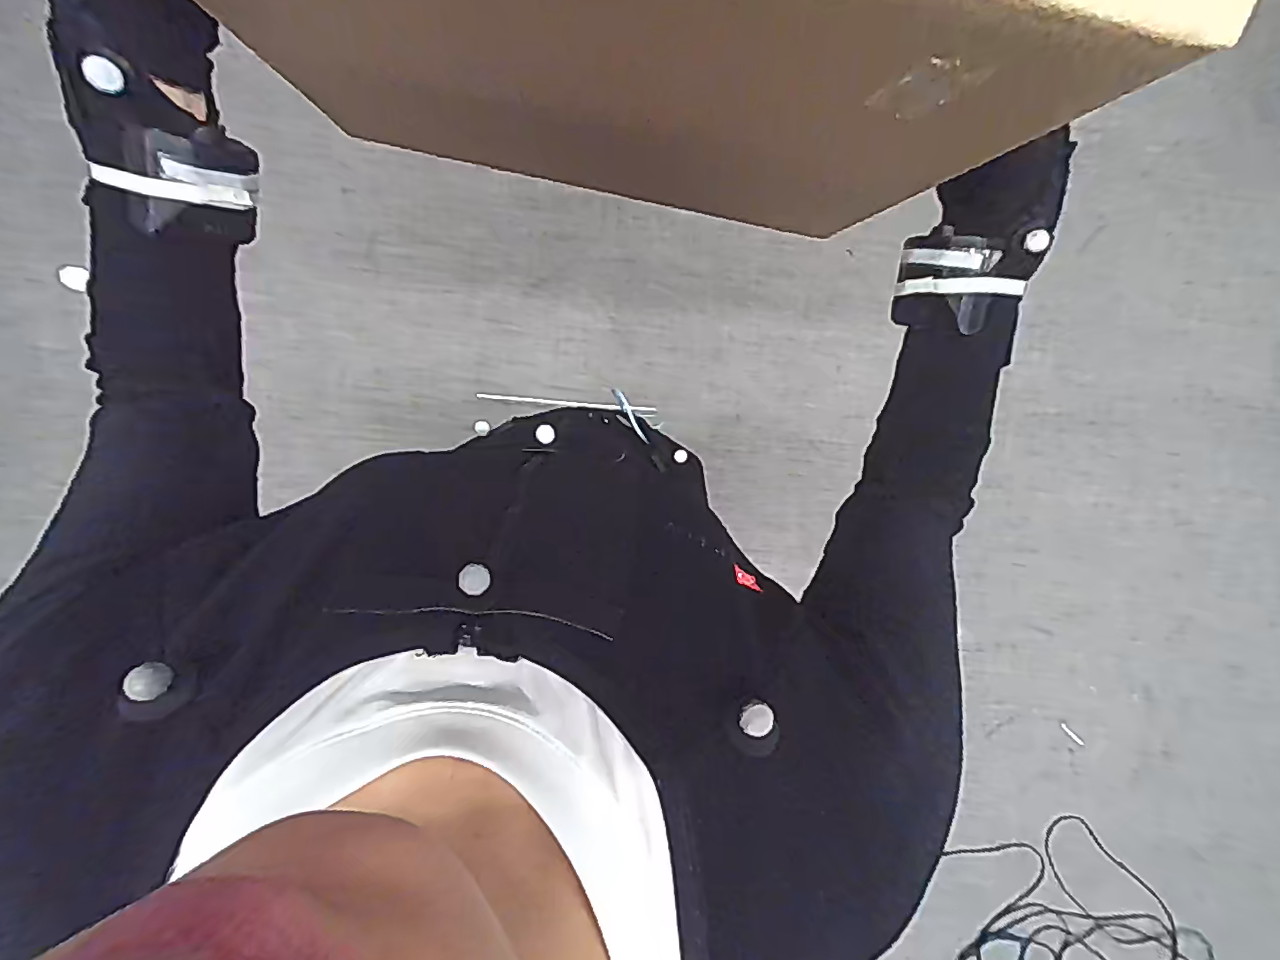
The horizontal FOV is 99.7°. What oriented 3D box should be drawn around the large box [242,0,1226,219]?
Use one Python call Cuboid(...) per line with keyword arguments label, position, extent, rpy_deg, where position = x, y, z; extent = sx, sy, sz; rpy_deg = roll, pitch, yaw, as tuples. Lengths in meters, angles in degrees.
Cuboid(label="large box", position=(0.013, -0.360, 0.269), extent=(0.408, 0.320, 0.320), rpy_deg=(9, 104, -8))
